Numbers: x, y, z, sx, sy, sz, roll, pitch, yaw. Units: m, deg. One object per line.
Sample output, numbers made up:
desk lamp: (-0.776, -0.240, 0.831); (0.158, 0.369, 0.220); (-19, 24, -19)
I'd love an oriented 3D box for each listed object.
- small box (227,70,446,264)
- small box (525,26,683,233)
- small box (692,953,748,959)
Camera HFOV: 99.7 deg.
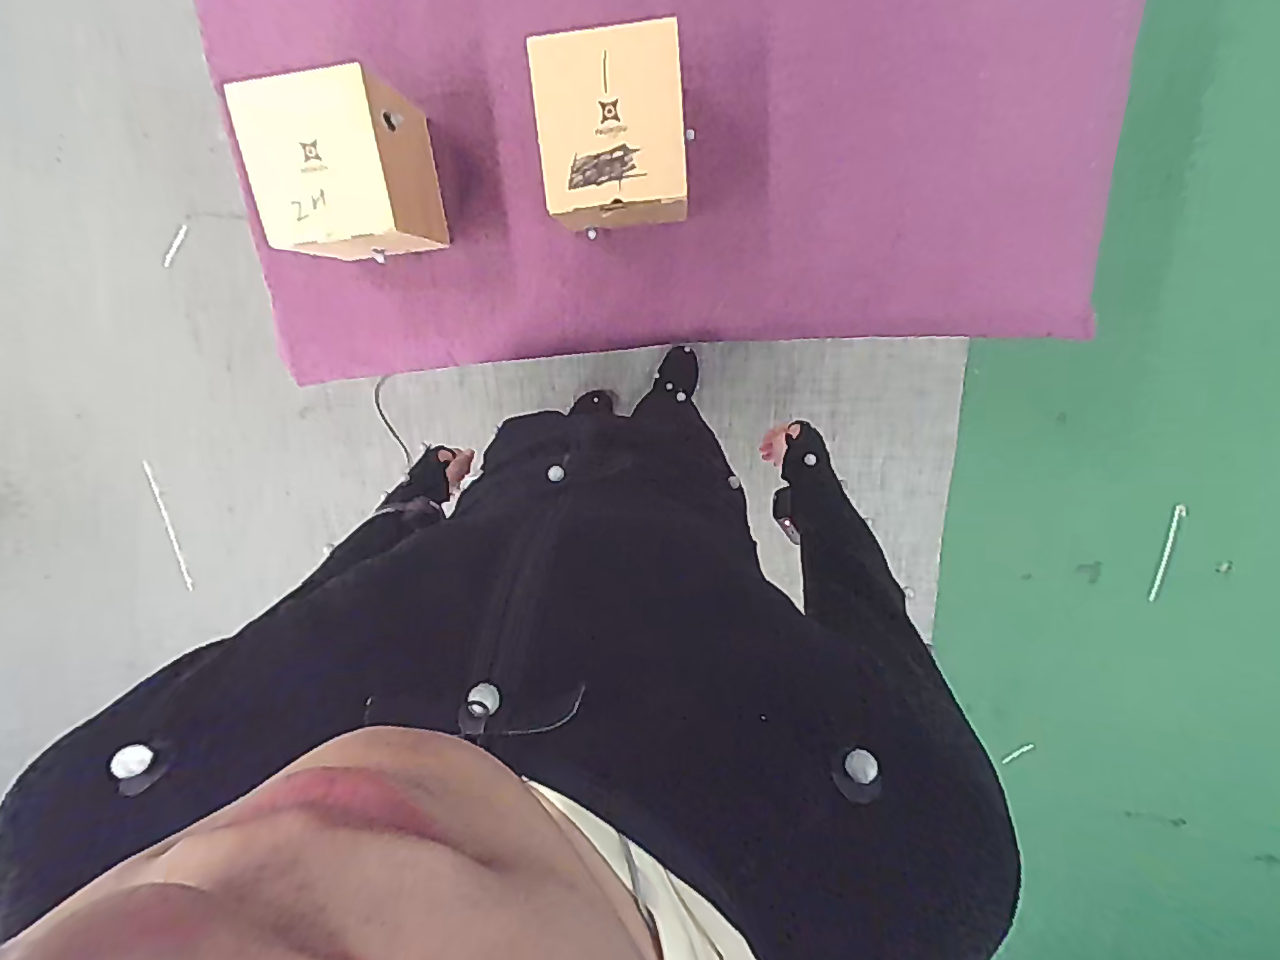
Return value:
small box: (-0.377, -0.391, 0.707); (0.168, 0.176, 0.179); (-5, 107, 5)
small box: (-0.032, -0.417, 0.679); (0.168, 0.176, 0.179); (-4, 106, 5)
small box: (0.243, 1.544, 1.591); (0.179, 0.176, 0.168); (-1, 107, 6)
